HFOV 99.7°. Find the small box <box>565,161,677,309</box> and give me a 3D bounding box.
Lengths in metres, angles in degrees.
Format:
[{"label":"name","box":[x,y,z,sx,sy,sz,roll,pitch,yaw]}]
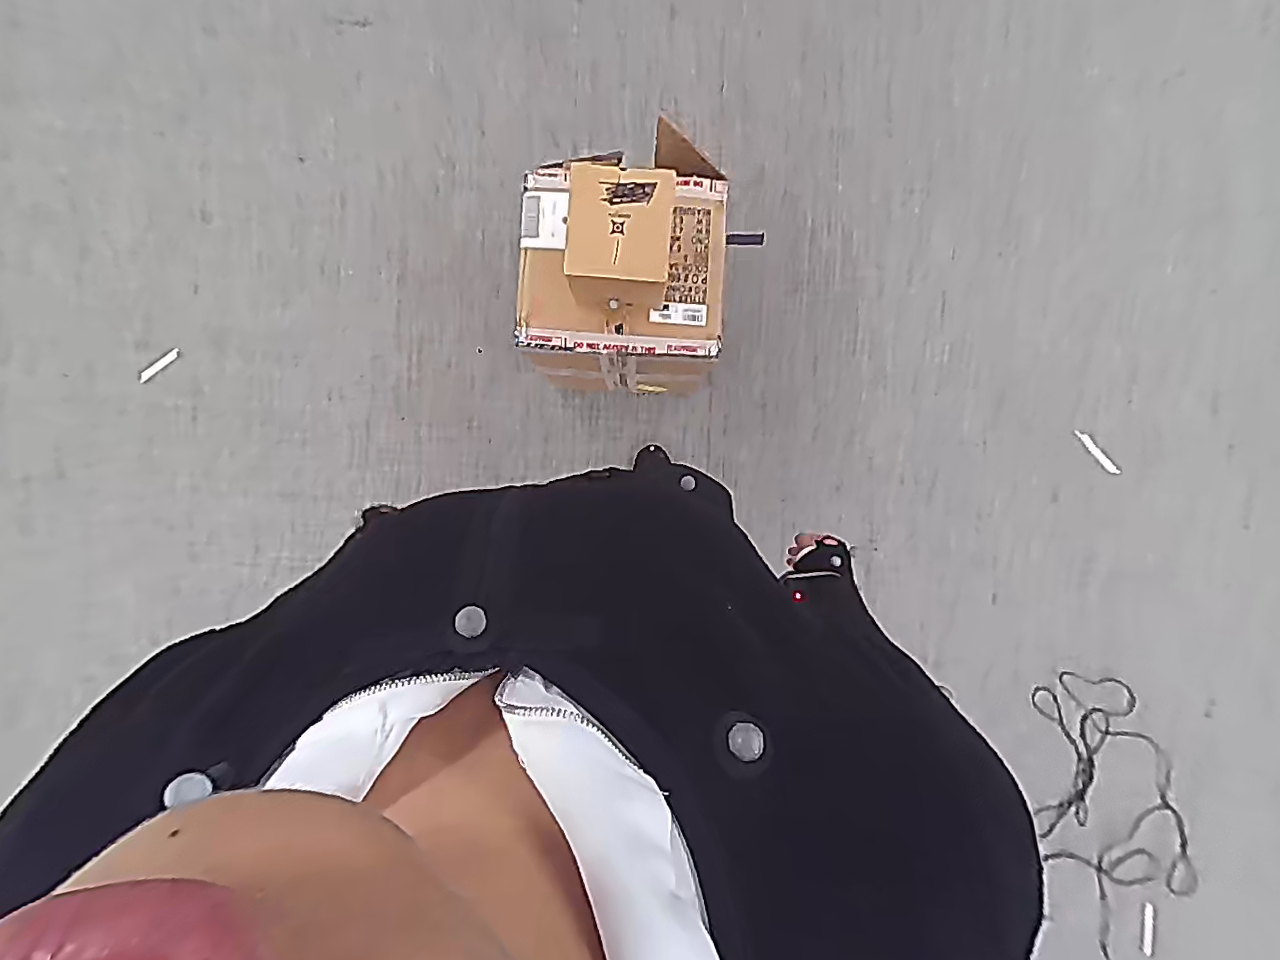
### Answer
[{"label":"small box","box":[-0.032,-0.409,0.929,0.168,0.176,0.179,5,93,0]}]
